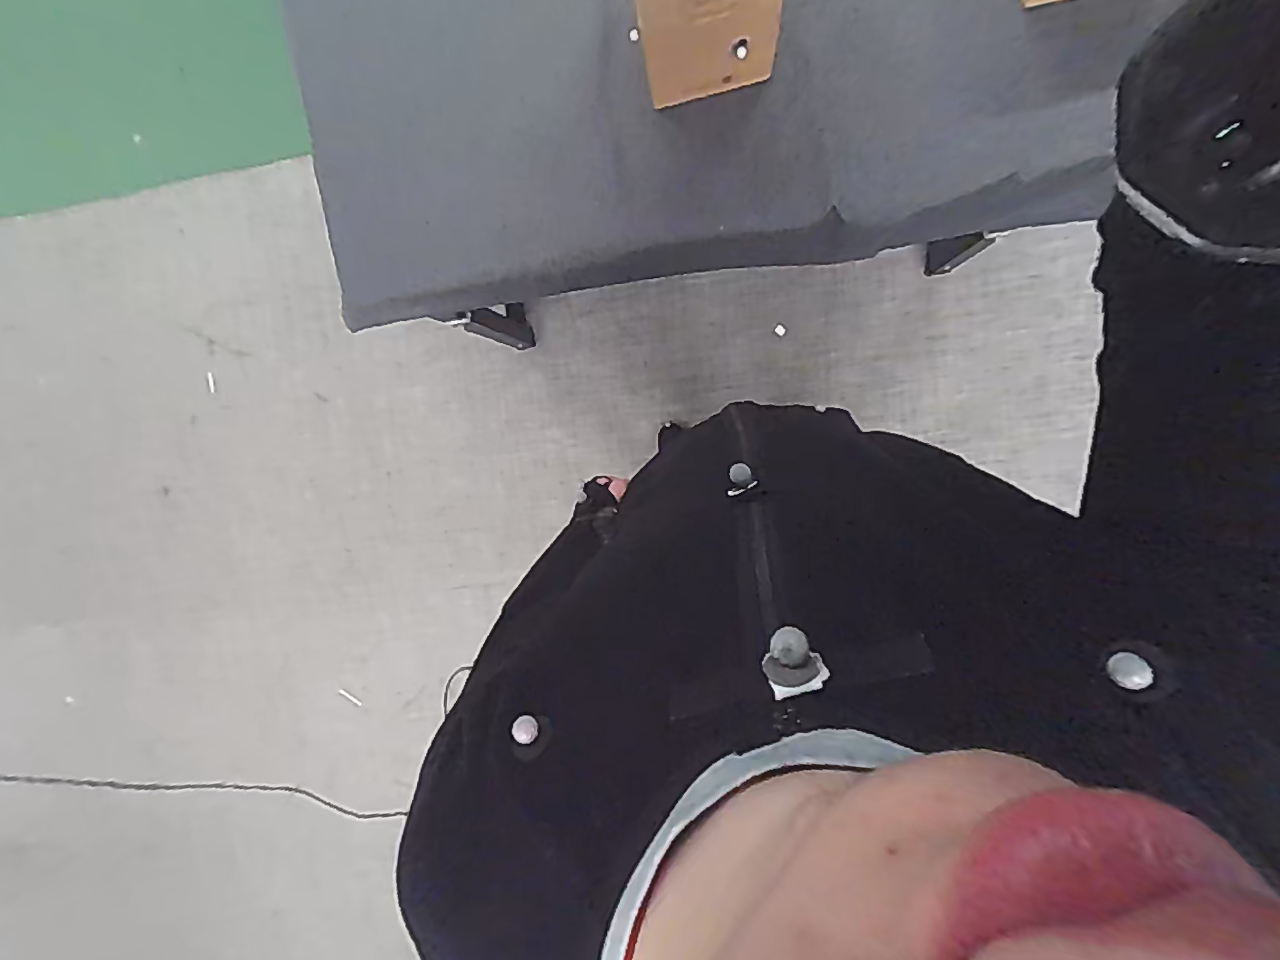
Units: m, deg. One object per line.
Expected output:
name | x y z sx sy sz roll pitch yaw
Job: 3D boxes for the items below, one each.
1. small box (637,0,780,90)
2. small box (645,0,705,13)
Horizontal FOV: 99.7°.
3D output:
small box | 0.076 -0.617 0.658 0.168 0.176 0.179 -9 94 7
small box | 0.059 -0.597 0.496 0.168 0.176 0.179 -10 96 8
